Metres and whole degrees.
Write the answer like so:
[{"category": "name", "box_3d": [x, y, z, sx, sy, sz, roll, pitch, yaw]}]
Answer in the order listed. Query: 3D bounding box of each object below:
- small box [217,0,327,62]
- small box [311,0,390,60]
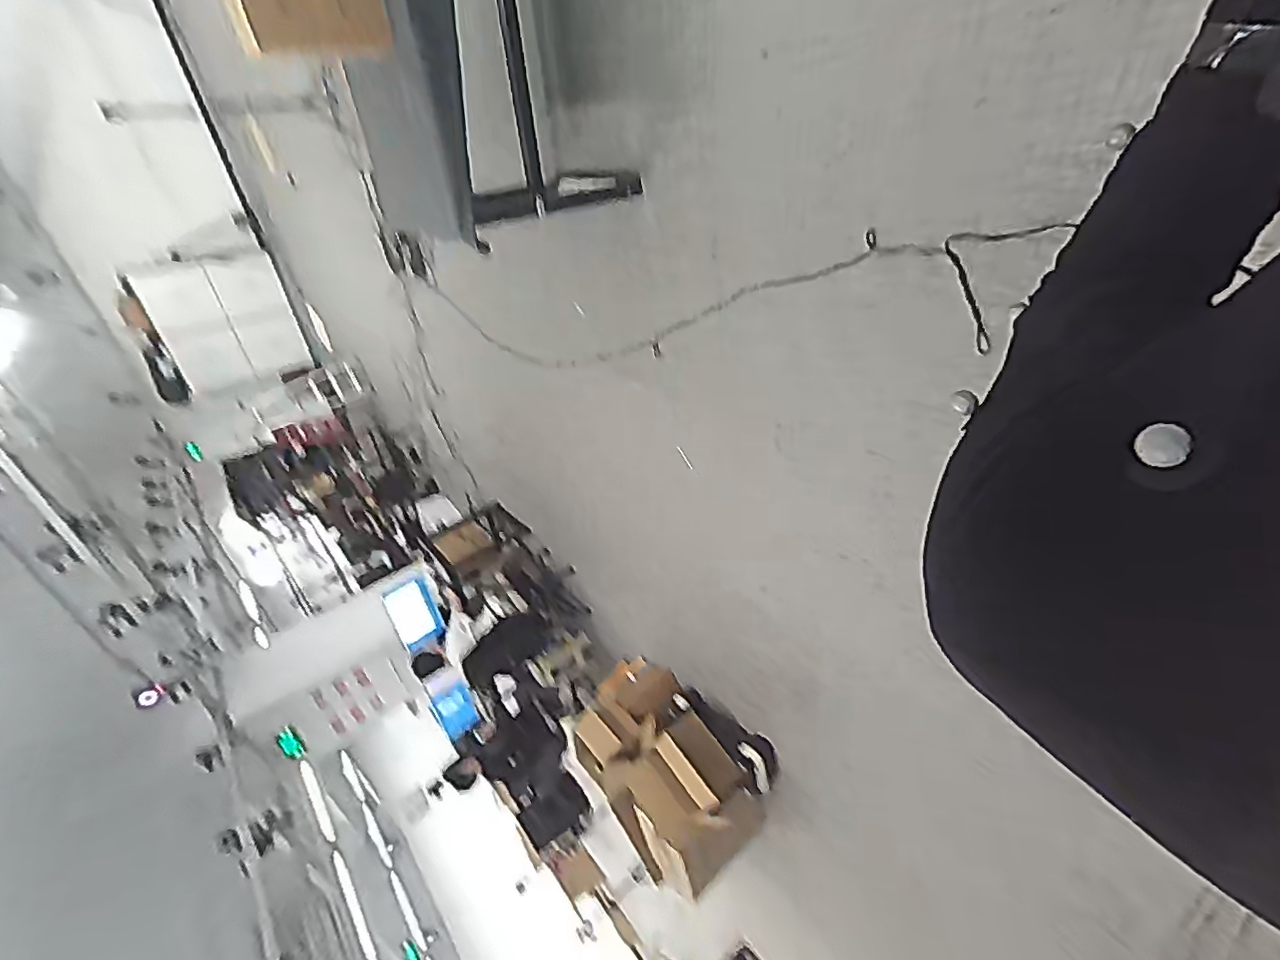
[{"category": "small box", "box_3d": [-0.894, -1.130, 1.304, 0.168, 0.176, 0.179, 29, 138, 41]}, {"category": "small box", "box_3d": [-0.769, -1.198, 1.386, 0.168, 0.176, 0.179, 30, 136, 40]}]
